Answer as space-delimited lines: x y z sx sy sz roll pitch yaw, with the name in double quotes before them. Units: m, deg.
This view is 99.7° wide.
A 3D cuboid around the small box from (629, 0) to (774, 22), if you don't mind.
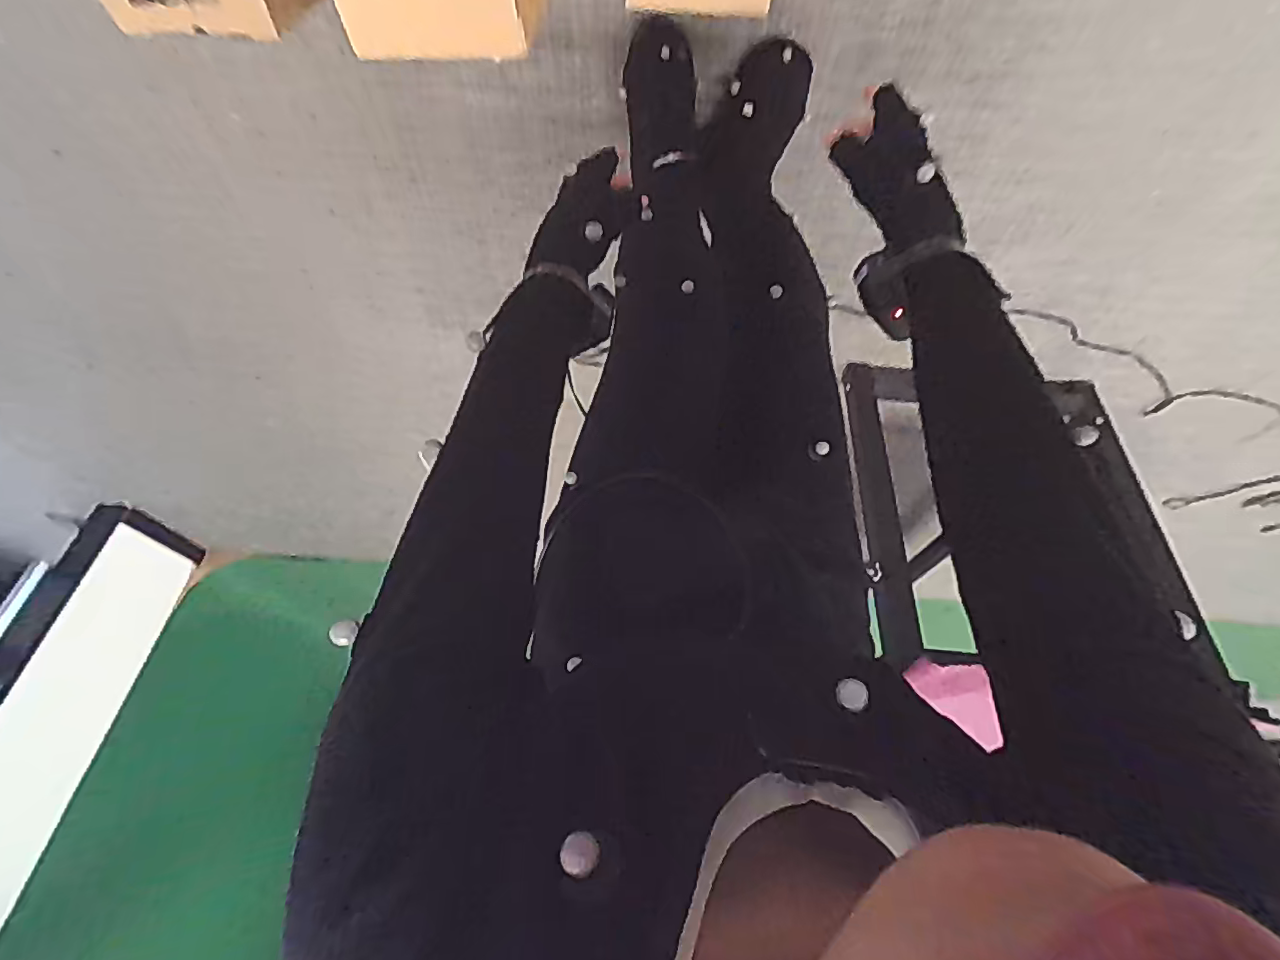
"small box" 0.076 -0.644 0.589 0.168 0.176 0.179 5 148 1
